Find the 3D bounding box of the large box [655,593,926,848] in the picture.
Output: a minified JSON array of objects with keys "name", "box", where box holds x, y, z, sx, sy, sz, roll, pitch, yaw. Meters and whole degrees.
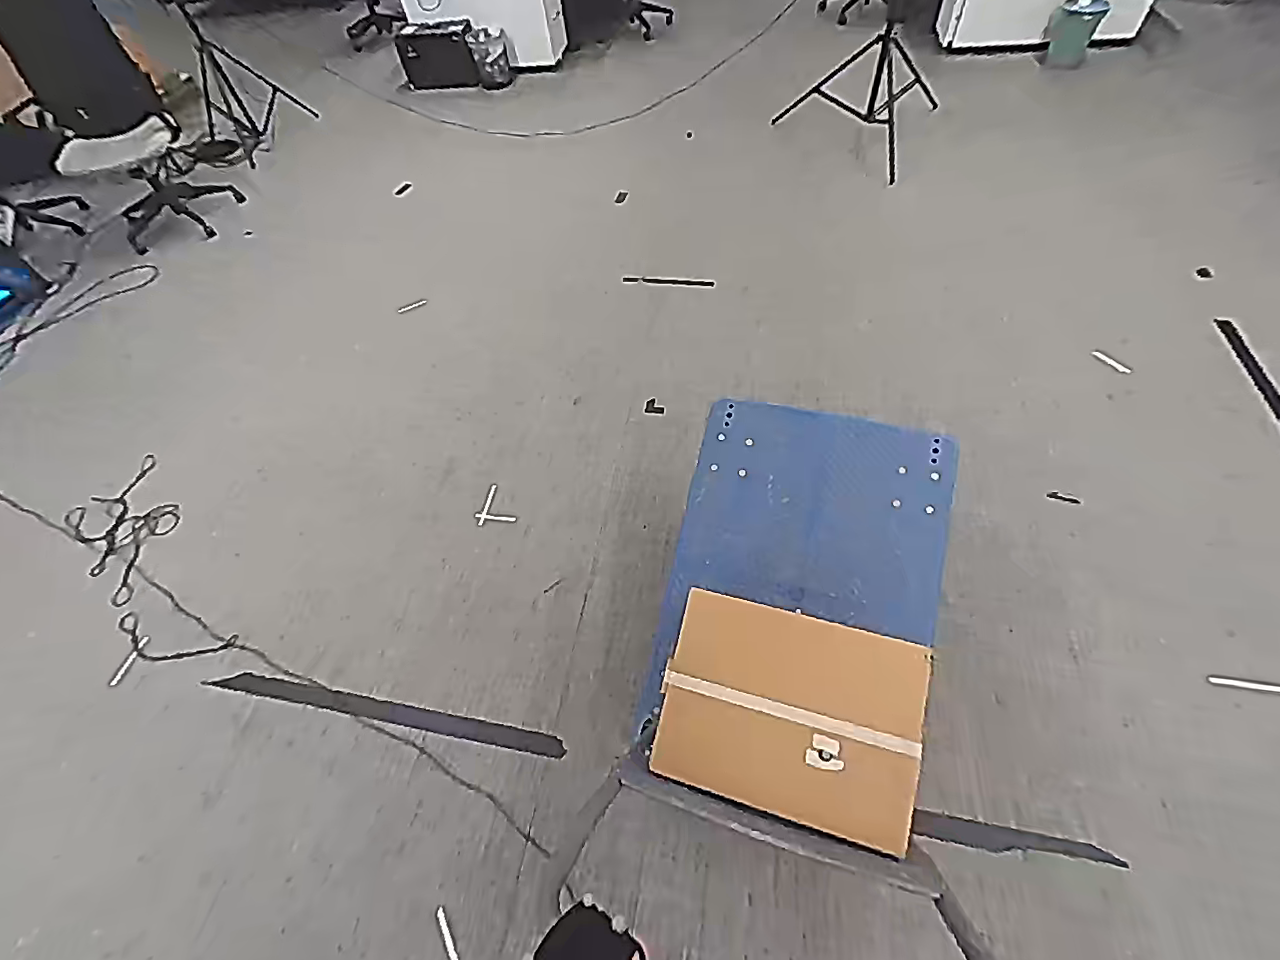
[{"name":"large box","box":[0.273,0.425,1.045,0.408,0.320,0.320,12,78,14]}]
